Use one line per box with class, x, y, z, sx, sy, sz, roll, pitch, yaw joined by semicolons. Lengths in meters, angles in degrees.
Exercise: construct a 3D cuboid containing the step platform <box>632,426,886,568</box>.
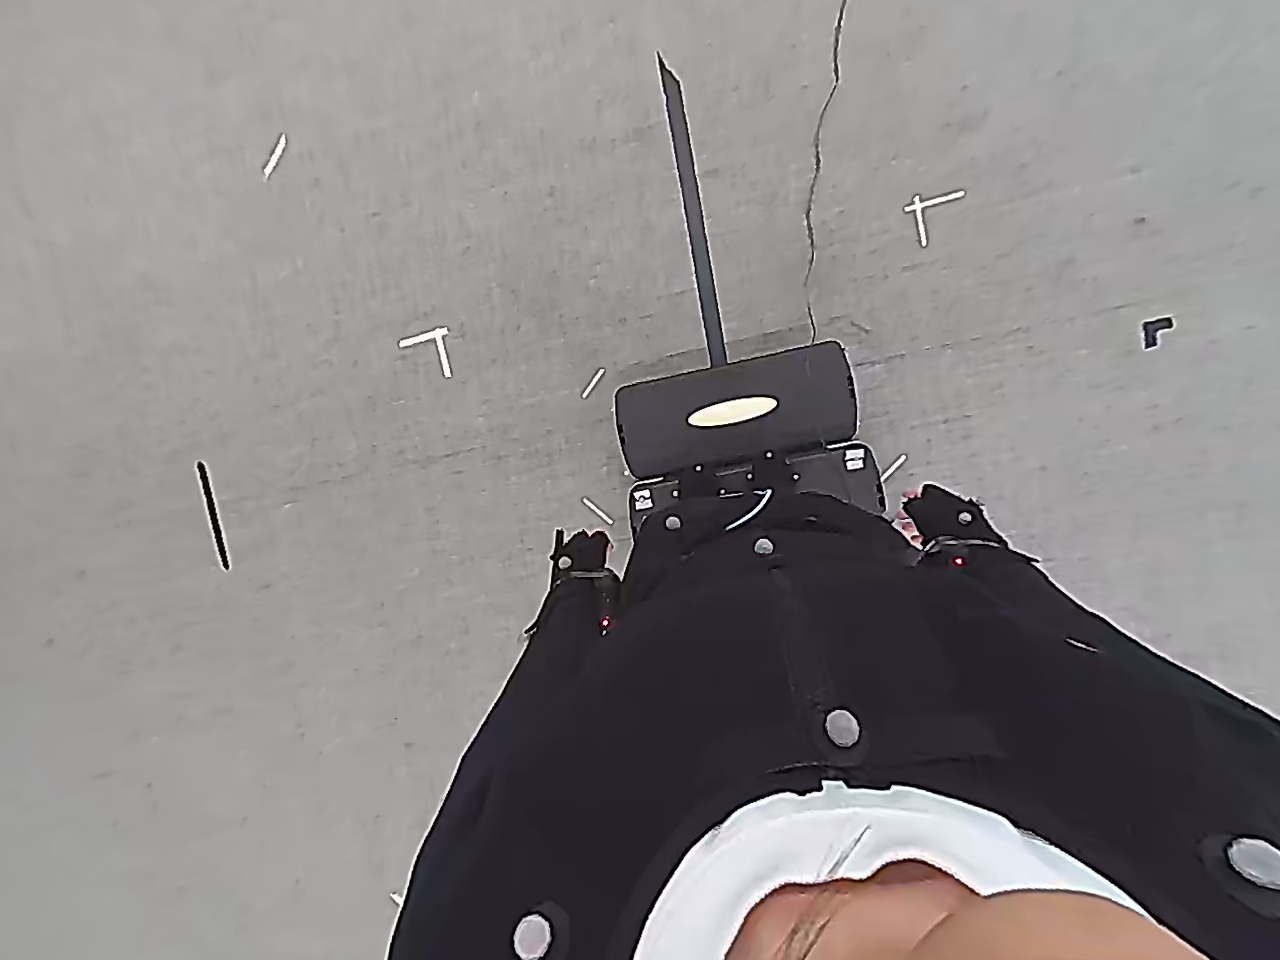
step platform;0.320;0.051;1.522;0.684;0.204;0.286;-12;92;11
